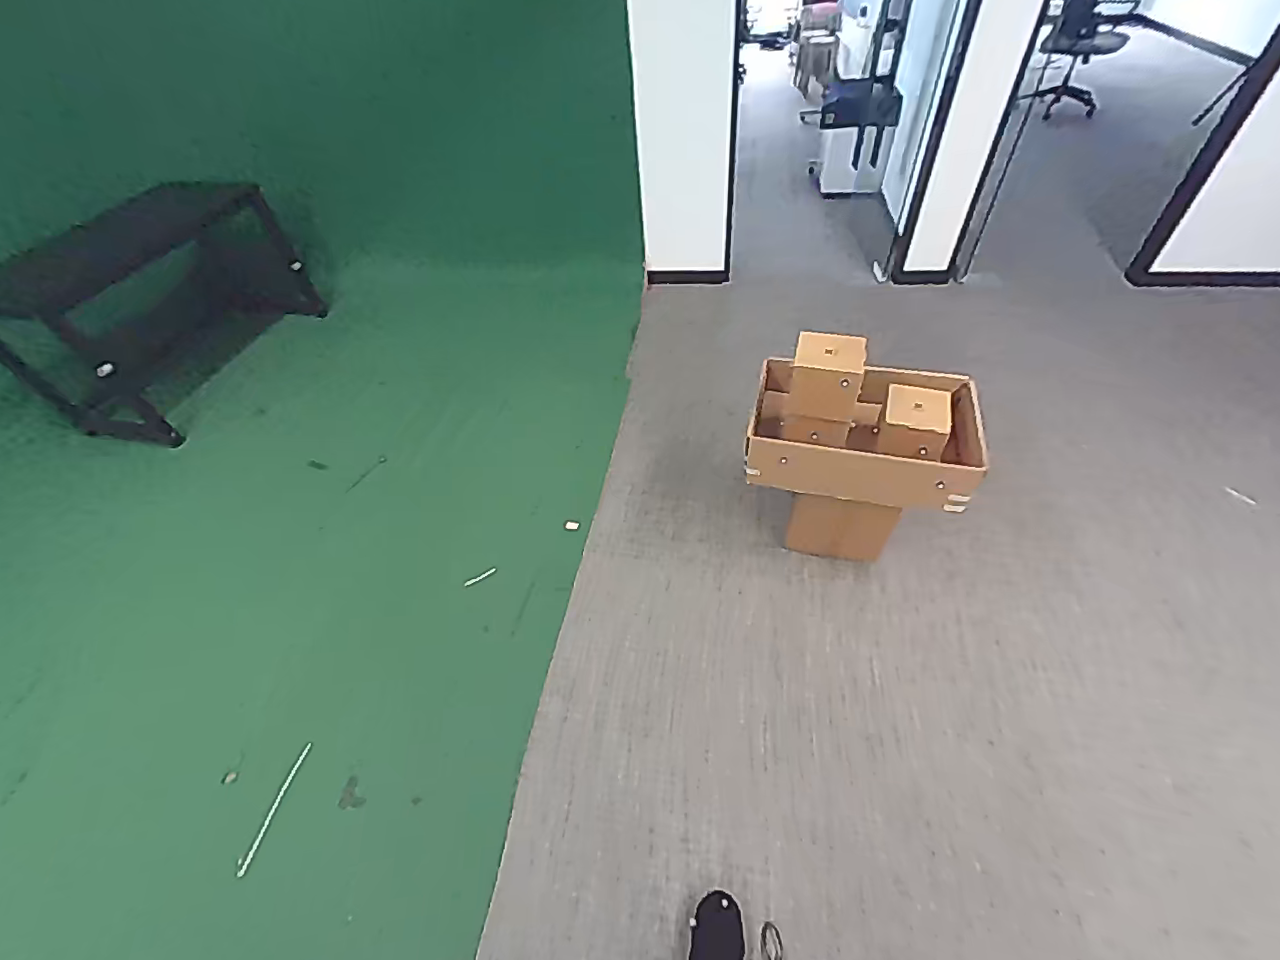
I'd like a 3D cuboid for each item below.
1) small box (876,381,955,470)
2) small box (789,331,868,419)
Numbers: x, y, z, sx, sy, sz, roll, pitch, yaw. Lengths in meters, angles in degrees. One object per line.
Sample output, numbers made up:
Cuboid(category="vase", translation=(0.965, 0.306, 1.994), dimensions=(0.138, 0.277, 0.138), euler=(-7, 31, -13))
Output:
Cuboid(category="small box", translation=(0.785, -0.154, 1.548), dimensions=(0.168, 0.176, 0.179), euler=(13, 52, 17))
Cuboid(category="small box", translation=(0.513, -0.286, 1.484), dimensions=(0.179, 0.176, 0.168), euler=(10, 50, 15))
